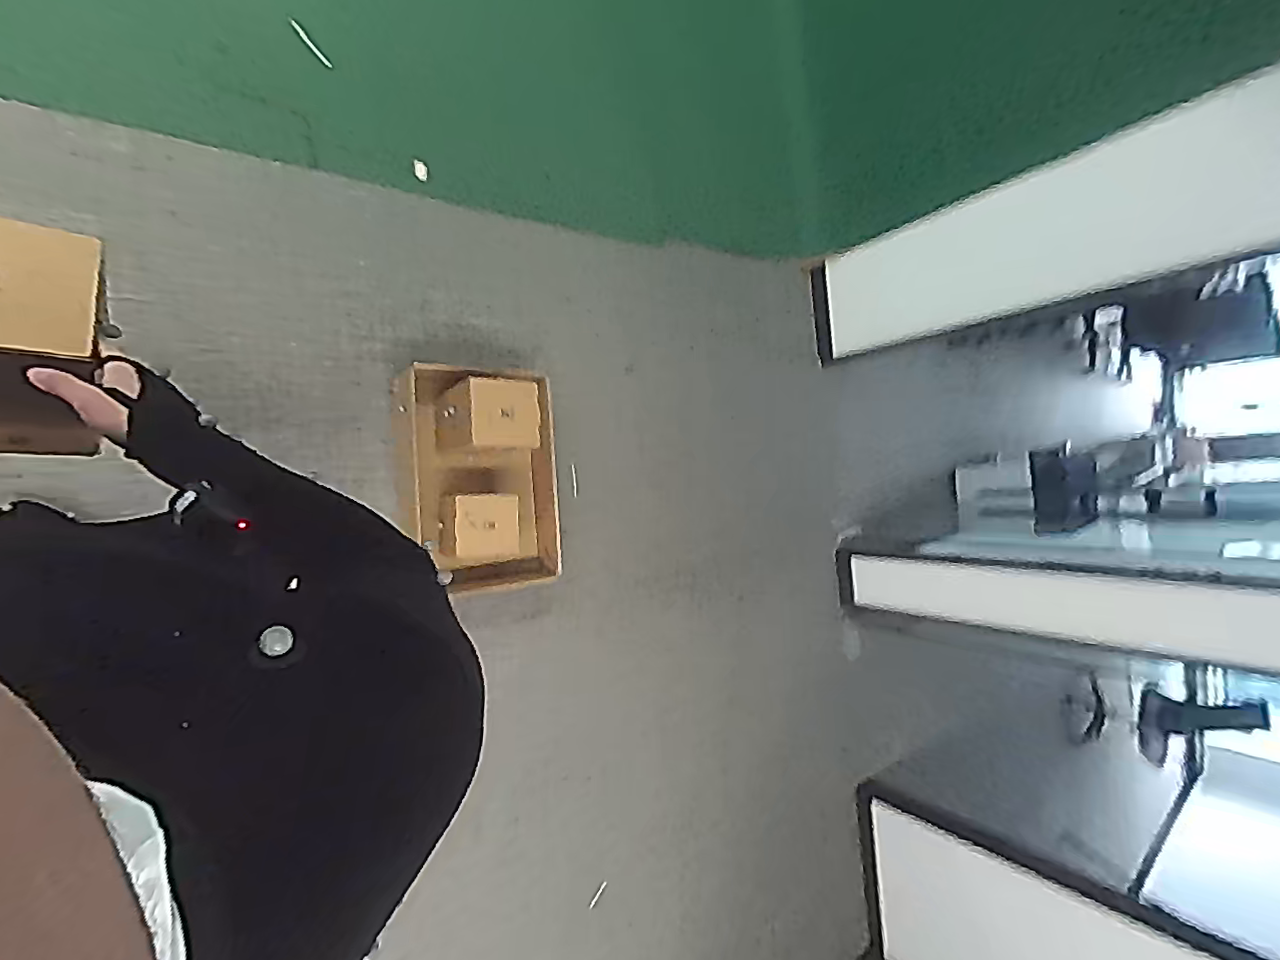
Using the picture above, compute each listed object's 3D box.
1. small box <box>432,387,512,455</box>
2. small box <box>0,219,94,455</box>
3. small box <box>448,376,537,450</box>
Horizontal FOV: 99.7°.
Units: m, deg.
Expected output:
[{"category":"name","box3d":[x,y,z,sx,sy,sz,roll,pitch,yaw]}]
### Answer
[{"category":"small box","box3d":[-0.475,-0.161,1.526,0.179,0.176,0.168,-1,89,-37]},{"category":"small box","box3d":[-0.670,-0.146,0.541,0.168,0.176,0.179,0,59,-43]},{"category":"small box","box3d":[-0.381,-0.165,1.394,0.179,0.176,0.168,-1,90,-36]}]
